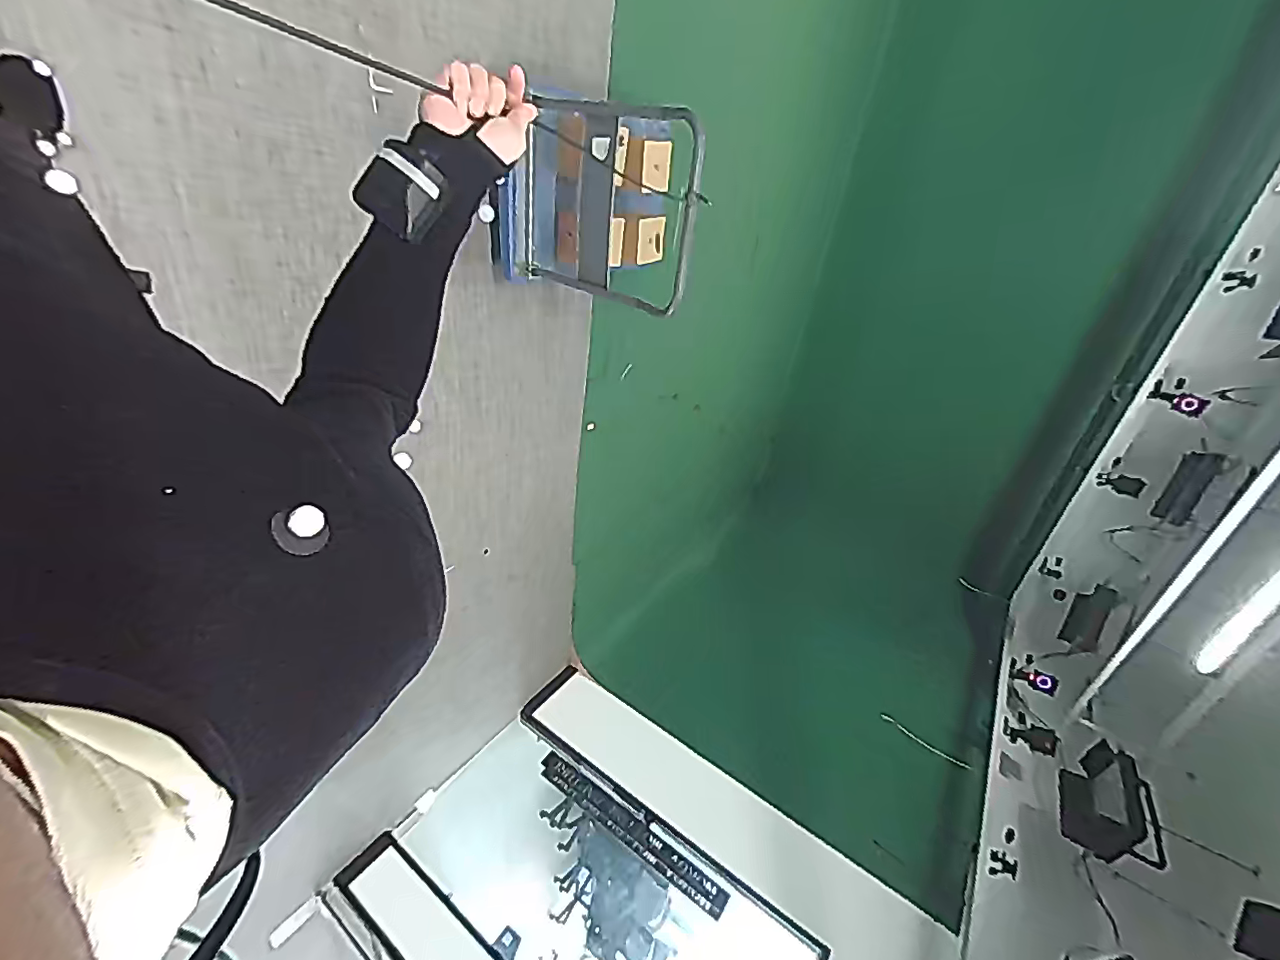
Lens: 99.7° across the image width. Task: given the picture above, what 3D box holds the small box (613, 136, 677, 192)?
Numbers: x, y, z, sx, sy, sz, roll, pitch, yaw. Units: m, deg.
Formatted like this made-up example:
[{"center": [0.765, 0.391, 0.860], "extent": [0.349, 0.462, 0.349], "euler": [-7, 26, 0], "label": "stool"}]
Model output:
[{"center": [0.014, -1.175, 2.013], "extent": [0.179, 0.176, 0.168], "euler": [-34, 140, -44], "label": "small box"}]

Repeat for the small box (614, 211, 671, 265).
[{"center": [-0.001, -0.967, 2.153], "extent": [0.179, 0.176, 0.168], "euler": [-33, 138, -43], "label": "small box"}]

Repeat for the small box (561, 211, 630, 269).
[{"center": [-0.162, -0.871, 1.958], "extent": [0.179, 0.176, 0.168], "euler": [-29, 136, -46], "label": "small box"}]
